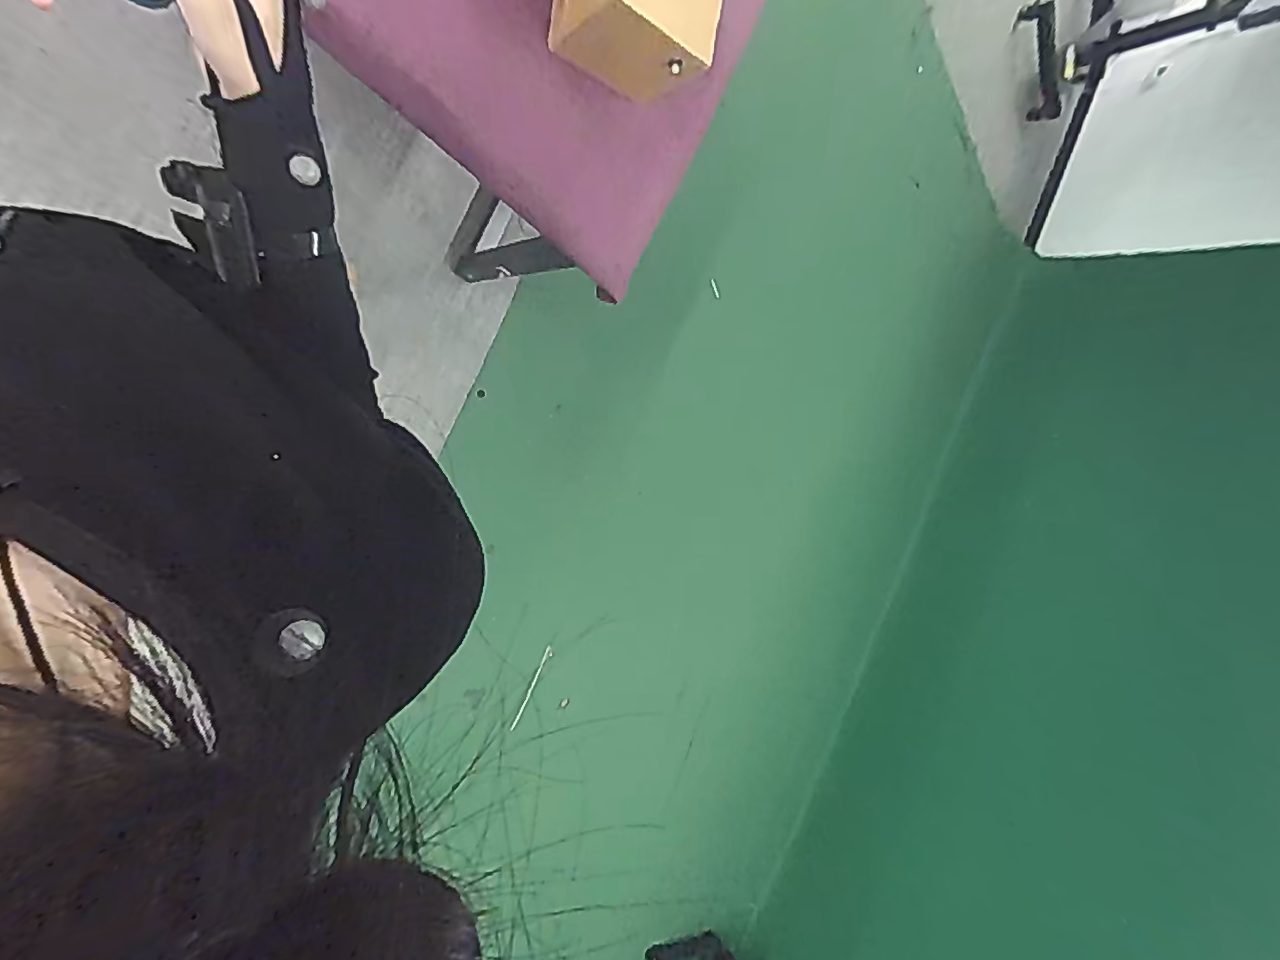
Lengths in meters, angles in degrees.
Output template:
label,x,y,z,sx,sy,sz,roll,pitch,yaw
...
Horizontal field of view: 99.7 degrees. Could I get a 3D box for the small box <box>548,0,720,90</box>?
label,x,y,z,sx,sy,sz,roll,pitch,yaw
small box,-0.007,-0.678,0.740,0.179,0.176,0.168,2,101,-40
